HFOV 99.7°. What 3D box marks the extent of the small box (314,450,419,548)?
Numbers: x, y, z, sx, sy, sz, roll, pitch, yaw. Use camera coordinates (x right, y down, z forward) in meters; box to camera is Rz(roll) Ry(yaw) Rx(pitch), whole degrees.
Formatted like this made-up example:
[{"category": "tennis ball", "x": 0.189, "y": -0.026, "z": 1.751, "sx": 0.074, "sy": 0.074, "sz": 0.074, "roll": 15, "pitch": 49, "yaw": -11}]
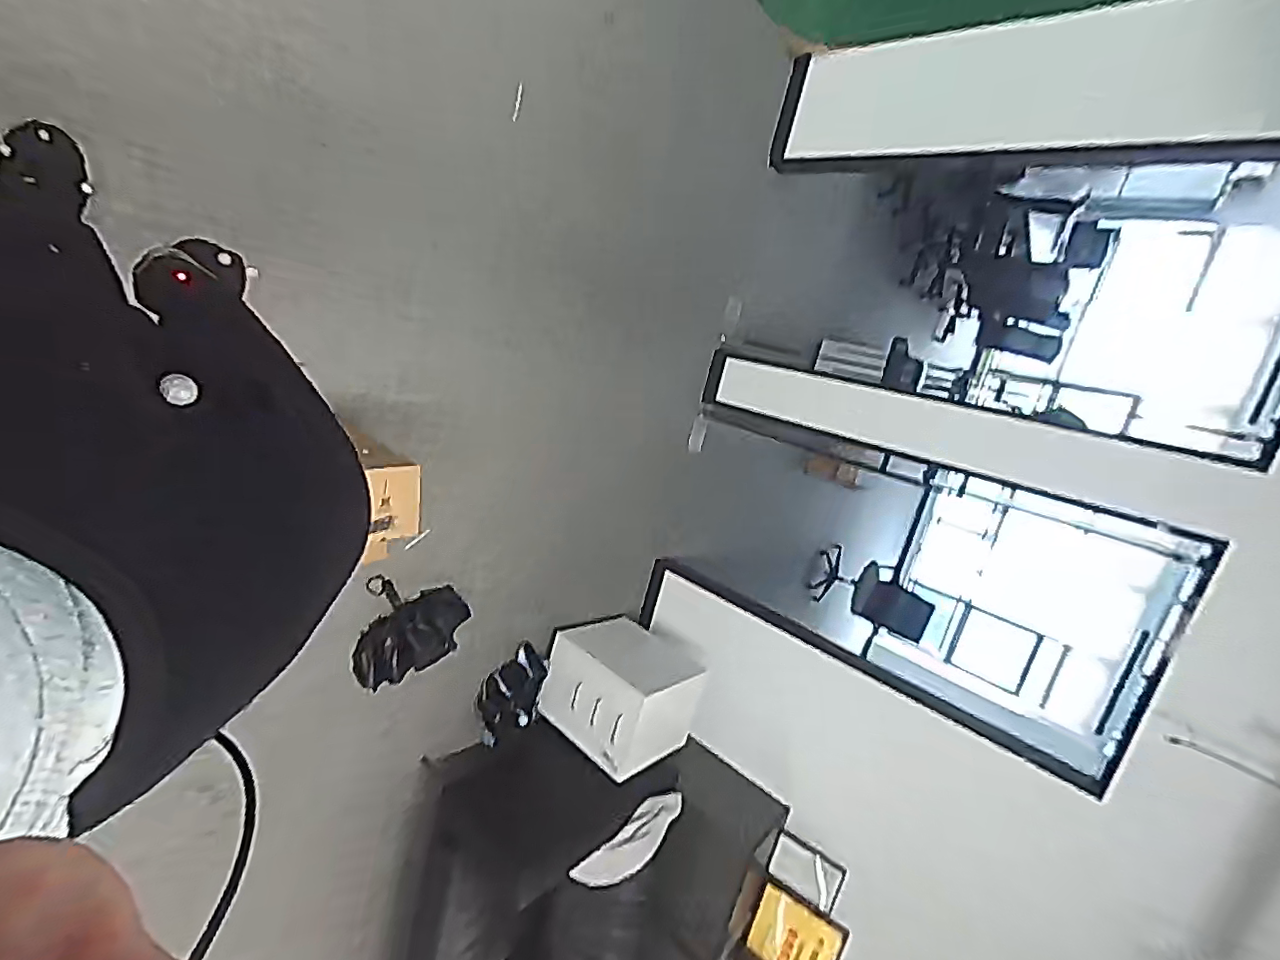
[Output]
[{"category": "small box", "x": -0.635, "y": 0.037, "z": 1.253, "sx": 0.168, "sy": 0.176, "sz": 0.179, "roll": -8, "pitch": 111, "yaw": -50}]
